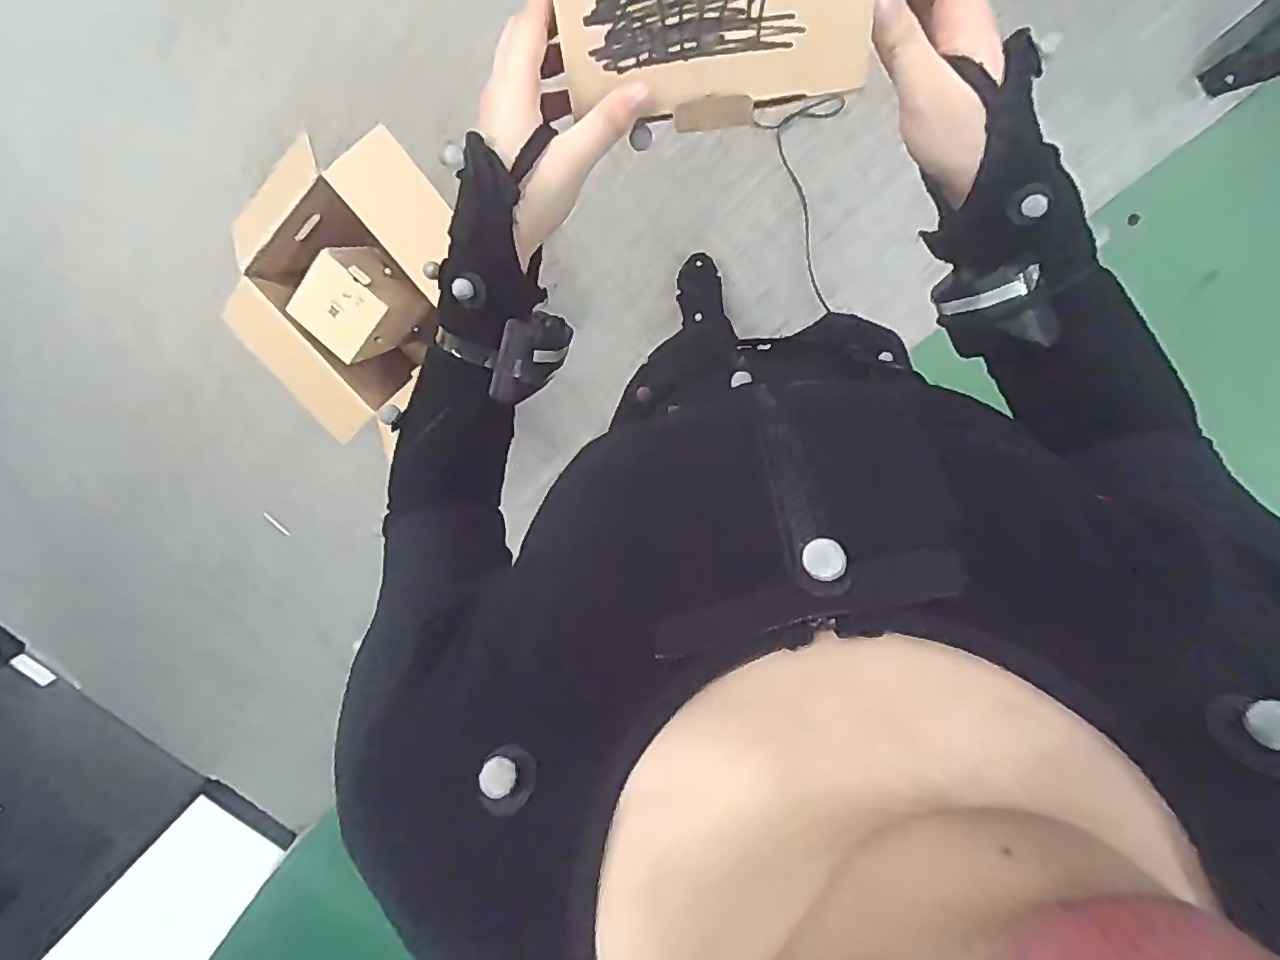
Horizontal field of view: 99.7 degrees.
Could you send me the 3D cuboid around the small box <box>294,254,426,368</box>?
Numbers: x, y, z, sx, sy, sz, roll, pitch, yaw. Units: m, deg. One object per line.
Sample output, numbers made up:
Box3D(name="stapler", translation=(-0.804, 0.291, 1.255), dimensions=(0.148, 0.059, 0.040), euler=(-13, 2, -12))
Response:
Box3D(name="small box", translation=(-0.621, -0.386, 1.222), dimensions=(0.168, 0.176, 0.179), euler=(43, 112, -12))
